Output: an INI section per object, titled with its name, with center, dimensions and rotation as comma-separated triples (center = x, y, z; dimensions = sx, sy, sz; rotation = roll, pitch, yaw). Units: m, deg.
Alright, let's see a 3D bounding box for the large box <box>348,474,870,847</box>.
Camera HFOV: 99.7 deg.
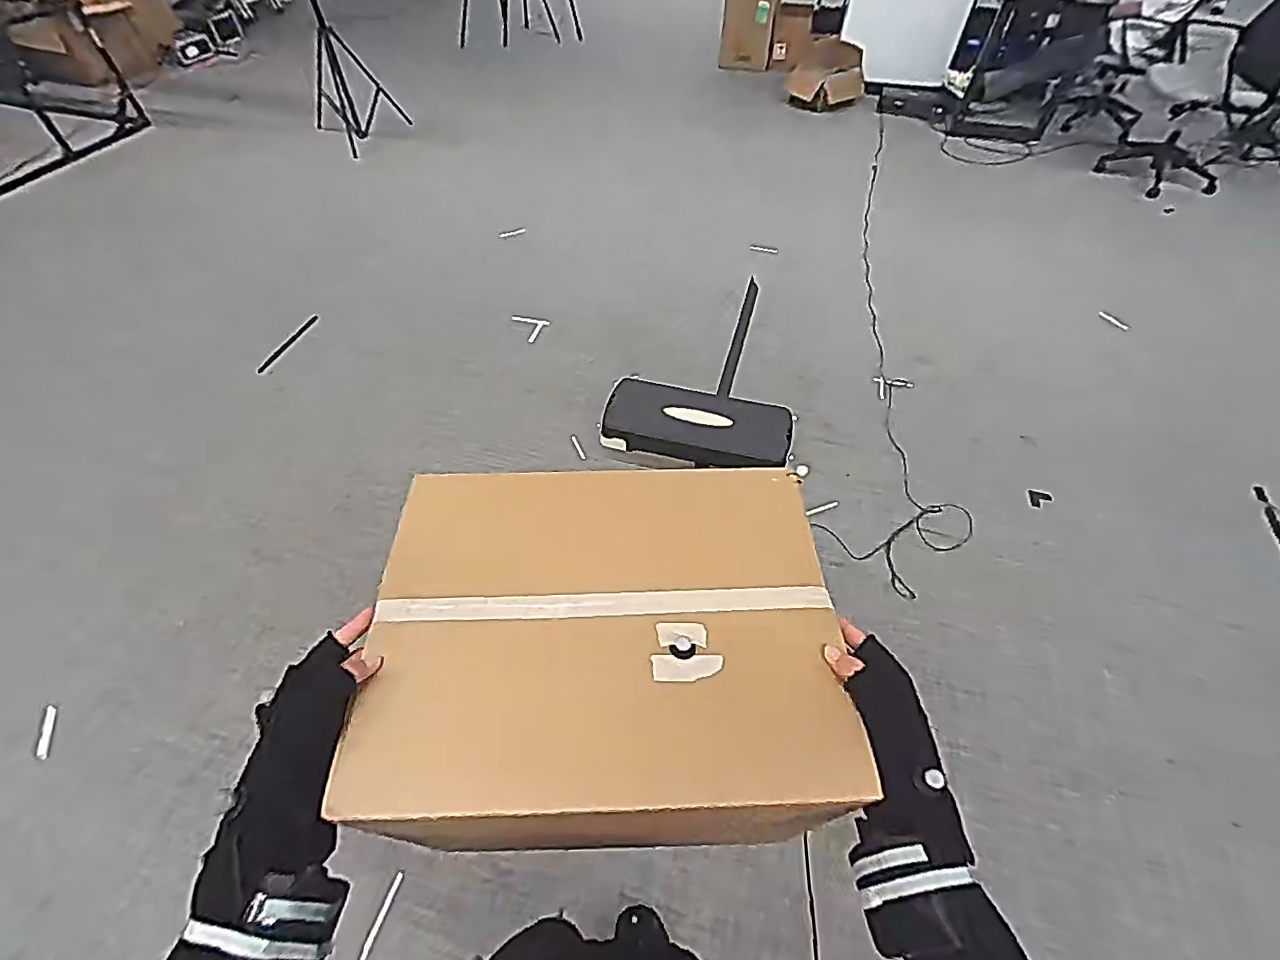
[large box]
center = -0.028, 0.209, 0.613
dimensions = 0.408, 0.320, 0.320
rotation = 0, 51, -1
